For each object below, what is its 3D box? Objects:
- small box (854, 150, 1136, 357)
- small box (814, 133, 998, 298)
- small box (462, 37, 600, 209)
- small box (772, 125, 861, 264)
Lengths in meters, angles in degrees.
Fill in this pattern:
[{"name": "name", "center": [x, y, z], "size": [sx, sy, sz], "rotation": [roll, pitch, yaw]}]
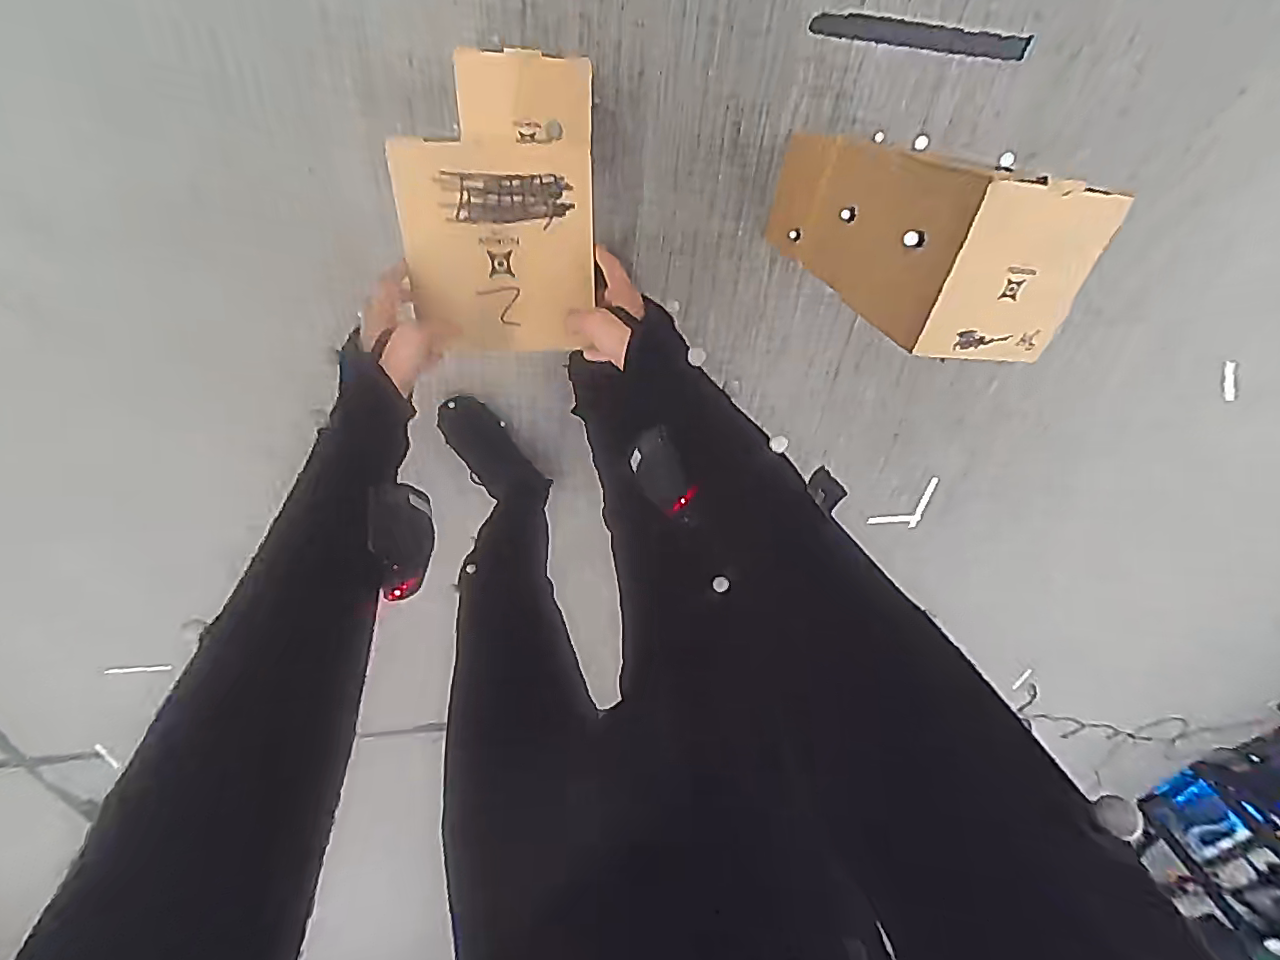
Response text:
[{"name": "small box", "center": [0.373, -0.258, 0.611], "size": [0.168, 0.176, 0.179], "rotation": [1, 126, -11]}, {"name": "small box", "center": [0.363, -0.357, 0.744], "size": [0.168, 0.176, 0.179], "rotation": [1, 127, -12]}, {"name": "small box", "center": [-0.147, -0.494, 0.754], "size": [0.168, 0.176, 0.179], "rotation": [-1, 127, -8]}, {"name": "small box", "center": [0.332, -0.455, 0.871], "size": [0.168, 0.176, 0.179], "rotation": [1, 128, -12]}]
